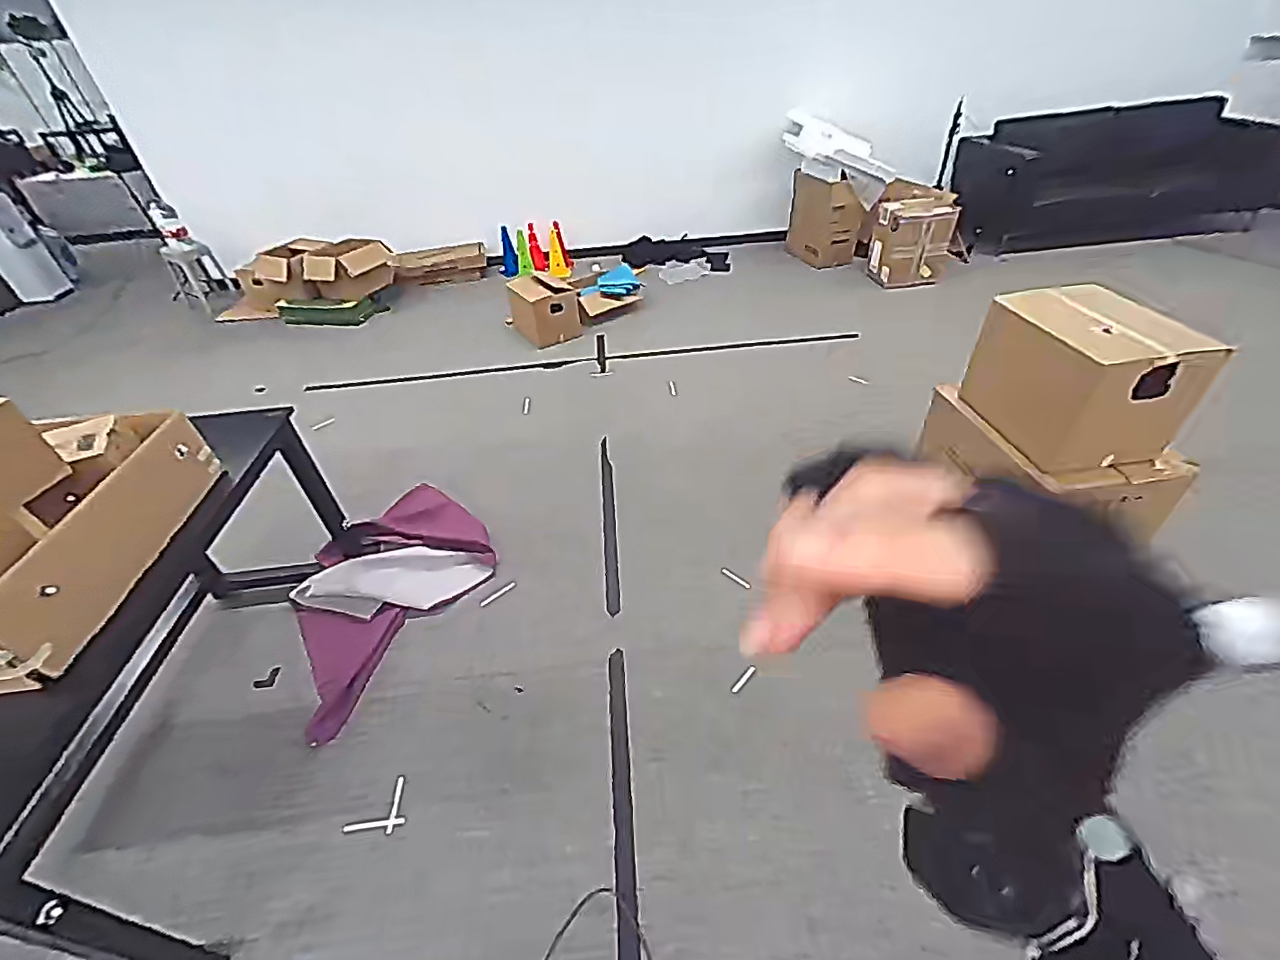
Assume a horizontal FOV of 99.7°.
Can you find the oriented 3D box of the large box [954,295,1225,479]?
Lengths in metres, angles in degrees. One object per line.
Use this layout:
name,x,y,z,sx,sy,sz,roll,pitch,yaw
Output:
large box,1.137,-0.259,1.440,0.320,0.320,0.408,-8,40,-4
